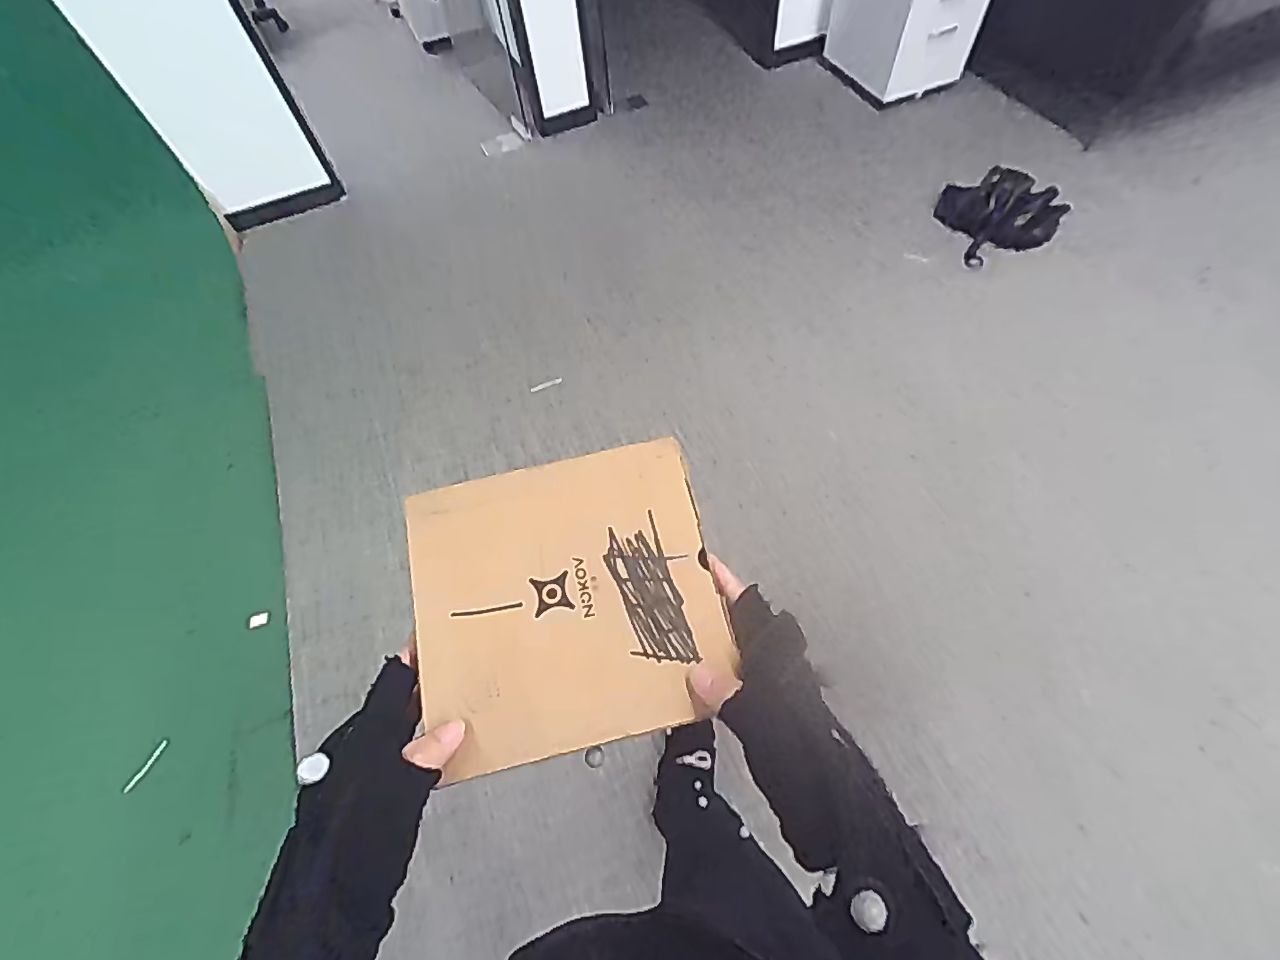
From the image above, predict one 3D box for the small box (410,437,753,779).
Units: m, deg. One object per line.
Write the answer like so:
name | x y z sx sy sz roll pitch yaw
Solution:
small box | -0.042 0.092 0.396 0.179 0.176 0.168 -15 70 -7
